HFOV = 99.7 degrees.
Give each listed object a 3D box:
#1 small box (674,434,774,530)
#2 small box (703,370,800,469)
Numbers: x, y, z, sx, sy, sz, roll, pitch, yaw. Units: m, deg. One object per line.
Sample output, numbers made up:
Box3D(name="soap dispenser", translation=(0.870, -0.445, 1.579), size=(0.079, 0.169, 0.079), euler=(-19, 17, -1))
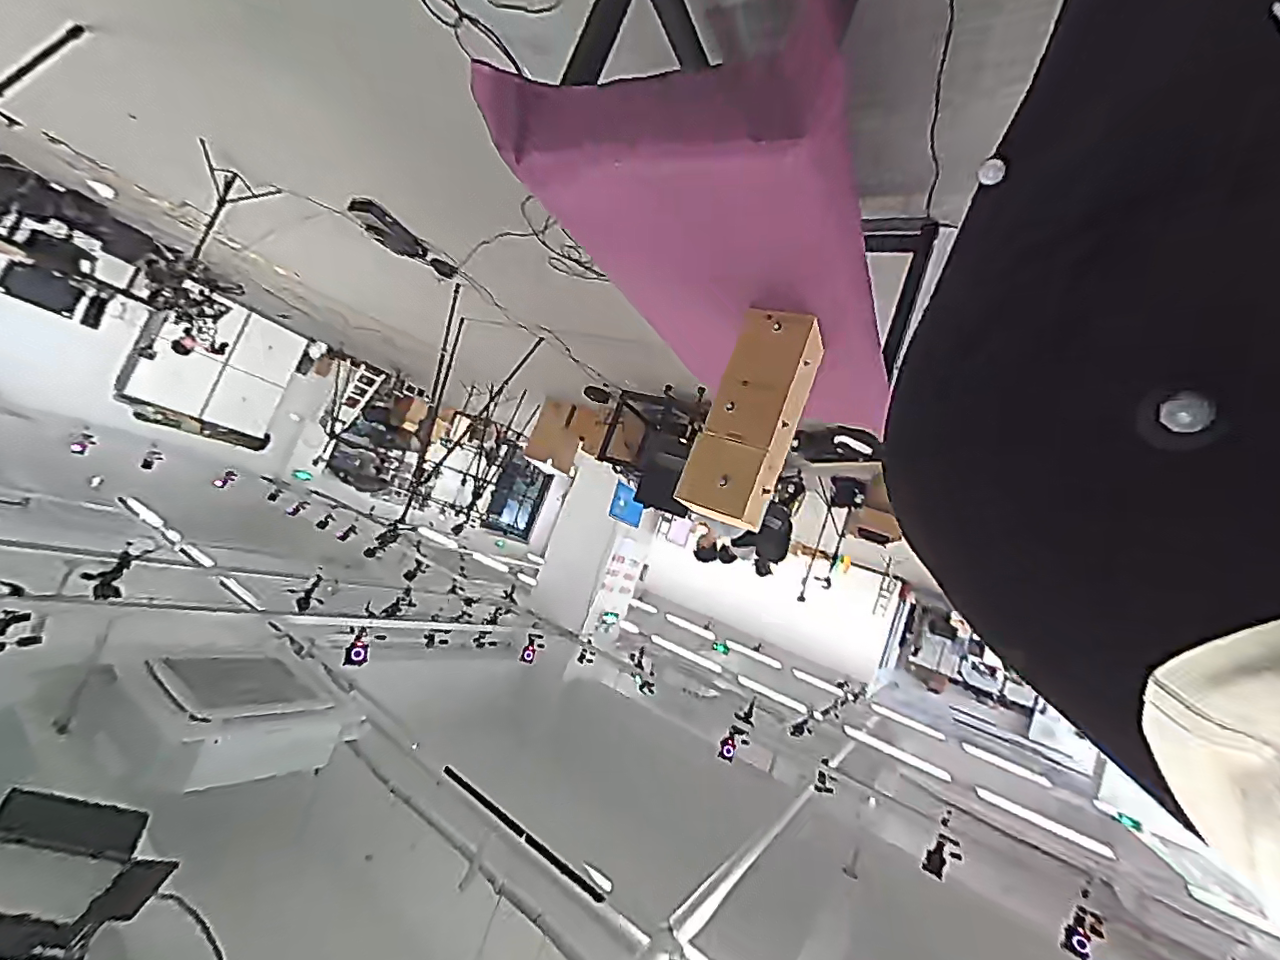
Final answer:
Box3D(name="small box", translation=(0.208, 0.002, 1.287), size=(0.179, 0.176, 0.168), euler=(18, 172, 28))
Box3D(name="small box", translation=(0.273, -0.146, 1.303), size=(0.168, 0.176, 0.179), euler=(18, 173, 27))
